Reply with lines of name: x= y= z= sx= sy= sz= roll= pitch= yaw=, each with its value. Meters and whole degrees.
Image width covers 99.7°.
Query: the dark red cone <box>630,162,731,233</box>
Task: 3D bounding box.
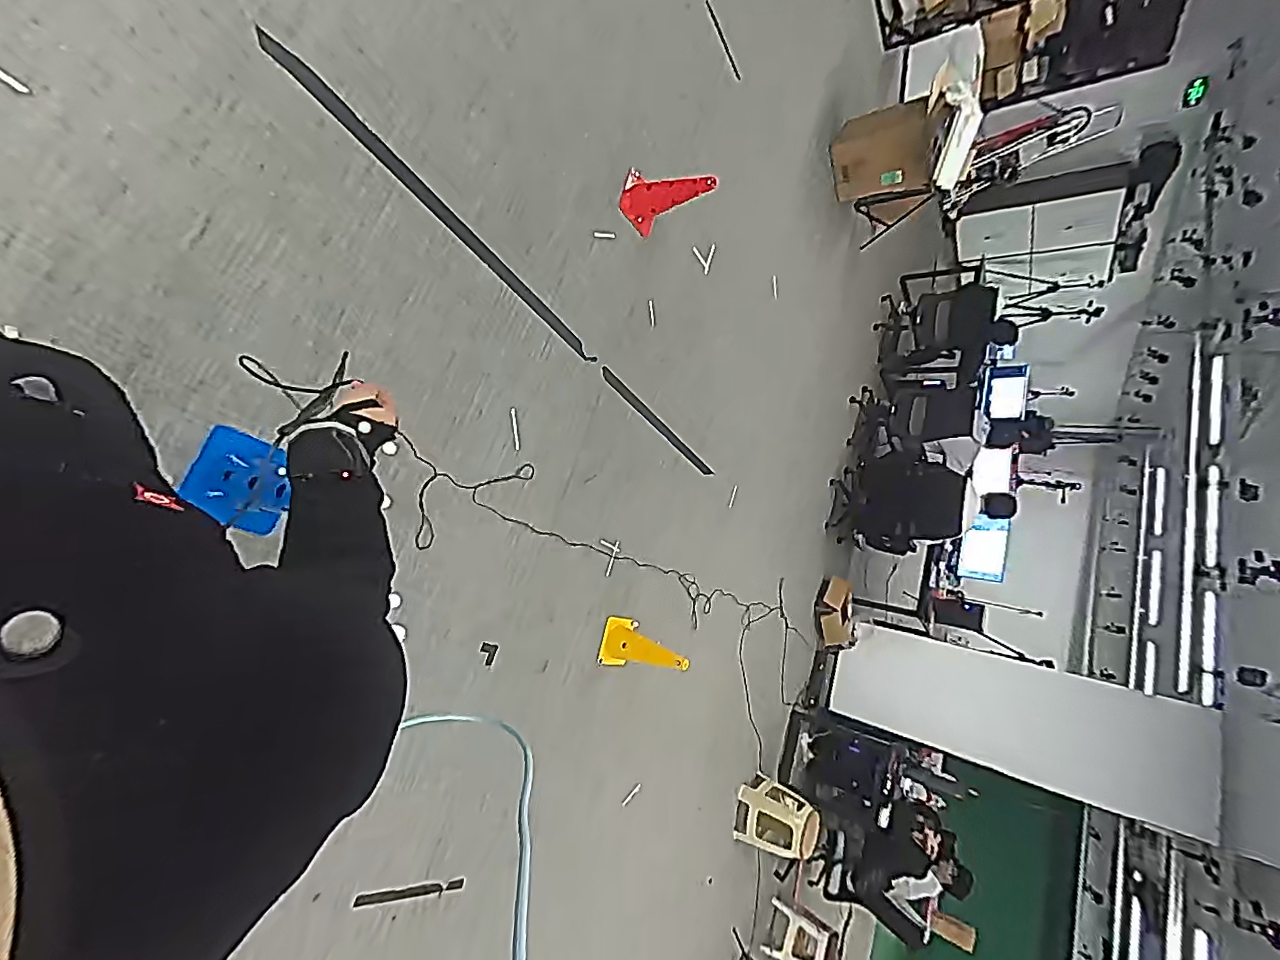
dark red cone: x=0.164 y=-1.111 z=2.069 sx=0.202 sy=0.394 sz=0.201 roll=26 pitch=76 yaw=-52

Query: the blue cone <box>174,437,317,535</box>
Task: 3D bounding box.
blue cone: x=-0.746 y=0.033 z=1.088 sx=0.193 sy=0.380 sz=0.192 roll=39 pitch=66 yaw=-49
